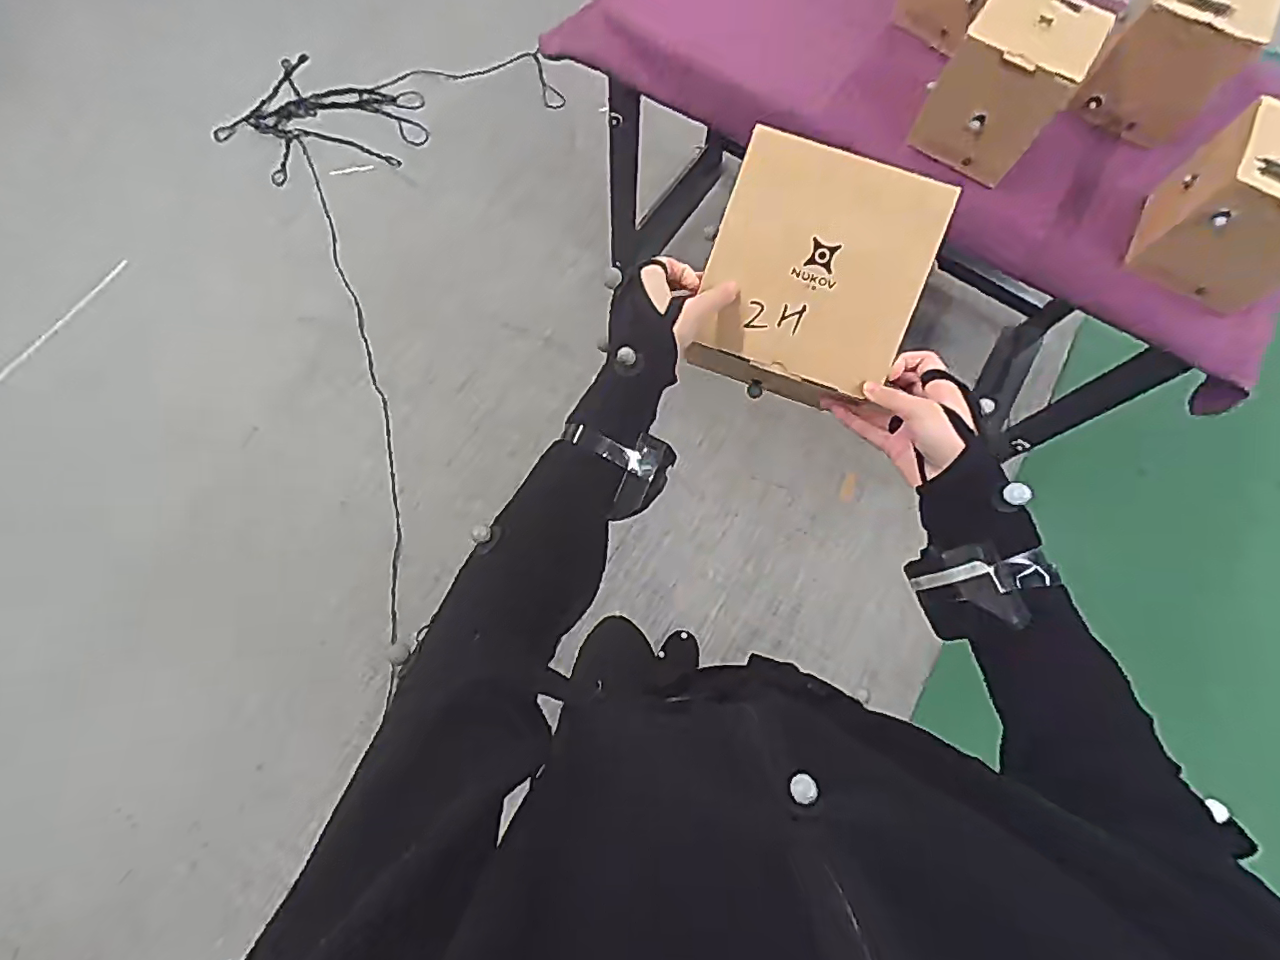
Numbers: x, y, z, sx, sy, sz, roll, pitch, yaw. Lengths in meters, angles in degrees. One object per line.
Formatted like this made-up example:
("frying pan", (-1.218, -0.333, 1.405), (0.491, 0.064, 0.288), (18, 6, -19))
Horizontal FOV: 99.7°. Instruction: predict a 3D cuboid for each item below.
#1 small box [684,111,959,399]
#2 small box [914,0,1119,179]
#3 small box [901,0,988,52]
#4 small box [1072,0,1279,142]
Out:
("small box", (0.145, -0.185, 0.501), (0.168, 0.176, 0.179), (21, 98, 4))
("small box", (0.552, -0.603, 0.818), (0.168, 0.176, 0.179), (33, 74, 8))
("small box", (0.572, -0.863, 0.900), (0.168, 0.176, 0.179), (43, 76, 9))
("small box", (0.840, -0.685, 0.854), (0.168, 0.176, 0.179), (31, 73, 7))
